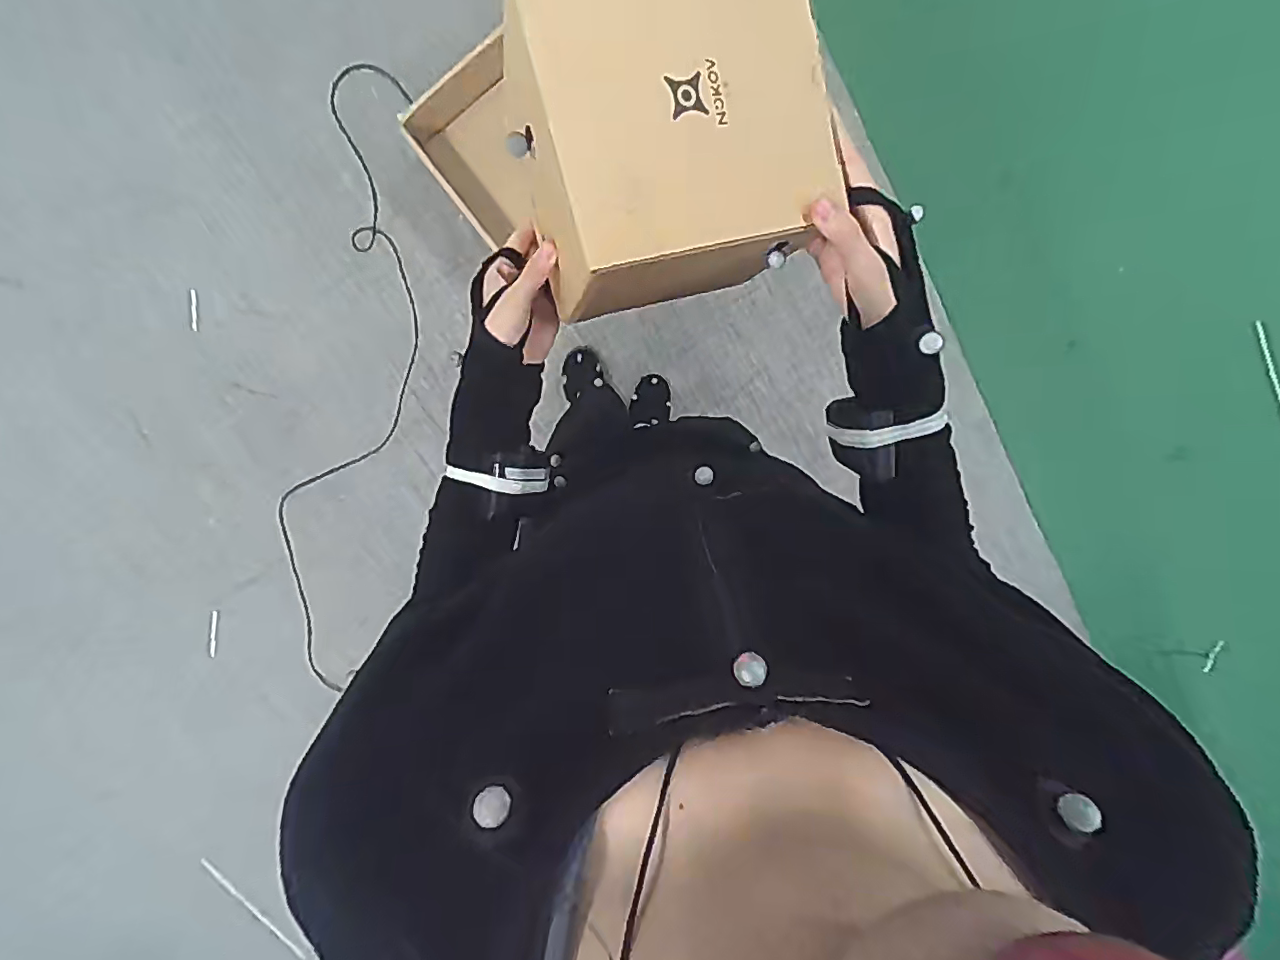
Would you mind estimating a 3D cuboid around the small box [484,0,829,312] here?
[{"bbox_3d":[-0.001,-0.232,0.387,0.179,0.176,0.168,-18,100,-12],"label":"small box"}]
